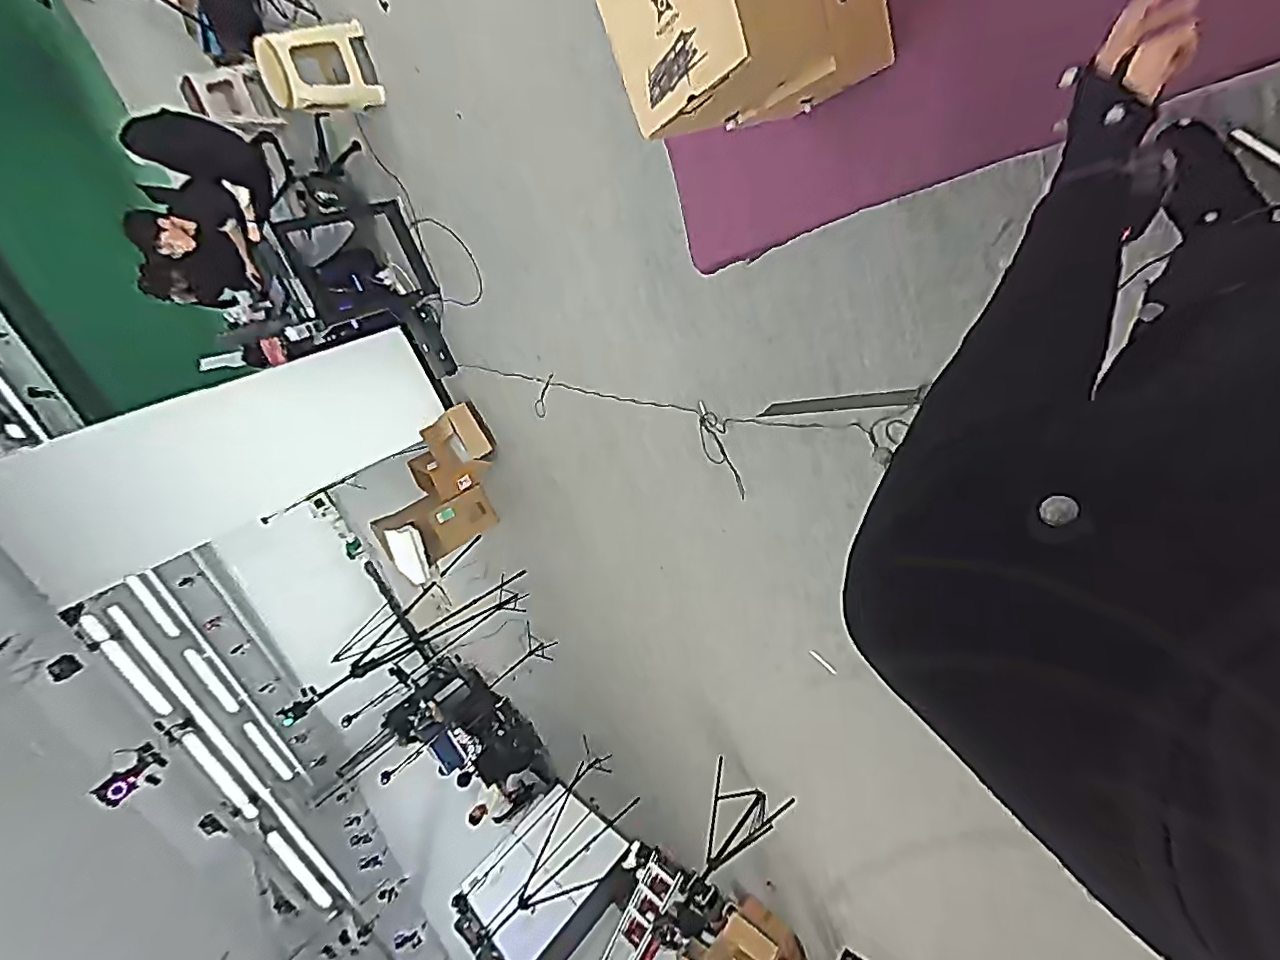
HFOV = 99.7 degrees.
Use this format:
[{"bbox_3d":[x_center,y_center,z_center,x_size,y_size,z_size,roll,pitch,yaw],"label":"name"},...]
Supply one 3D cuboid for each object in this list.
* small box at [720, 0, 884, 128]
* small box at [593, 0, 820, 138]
[{"bbox_3d":[0.194,-0.592,0.698,0.168,0.176,0.179,5,122,48],"label":"small box"},{"bbox_3d":[0.076,-0.524,0.606,0.168,0.176,0.179,-1,117,50],"label":"small box"}]
